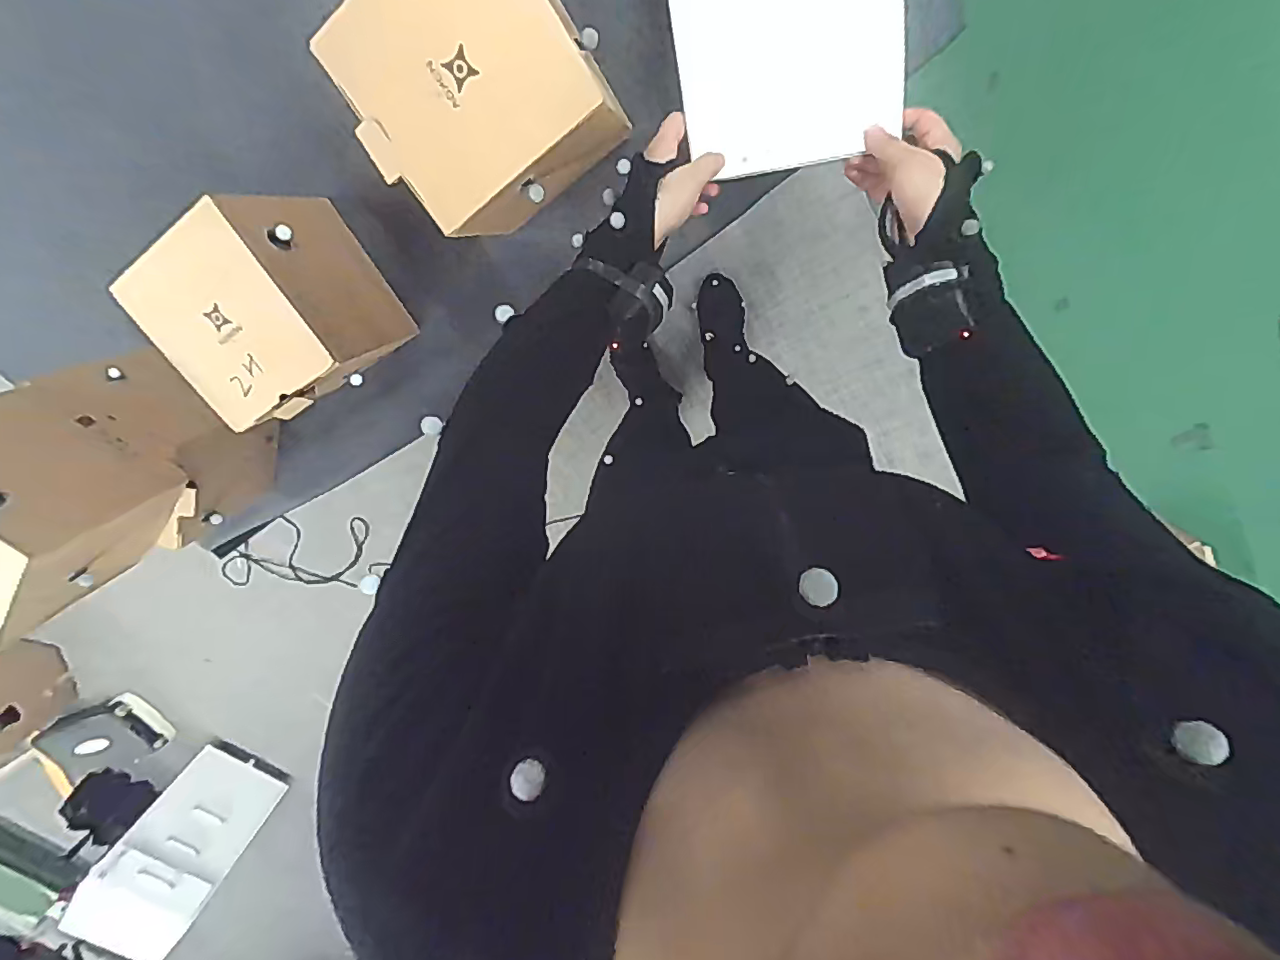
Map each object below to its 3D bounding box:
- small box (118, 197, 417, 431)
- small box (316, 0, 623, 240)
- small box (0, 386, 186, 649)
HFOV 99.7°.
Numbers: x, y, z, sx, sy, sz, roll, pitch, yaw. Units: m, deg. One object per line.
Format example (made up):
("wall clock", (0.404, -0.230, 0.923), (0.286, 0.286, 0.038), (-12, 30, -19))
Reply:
("small box", (-0.395, -0.187, 0.606), (0.168, 0.176, 0.179), (-25, 110, 20))
("small box", (-0.130, -0.346, 0.487), (0.179, 0.176, 0.168), (-29, 109, 22))
("small box", (-0.636, 0.033, 0.568), (0.168, 0.176, 0.179), (41, 116, -13))
